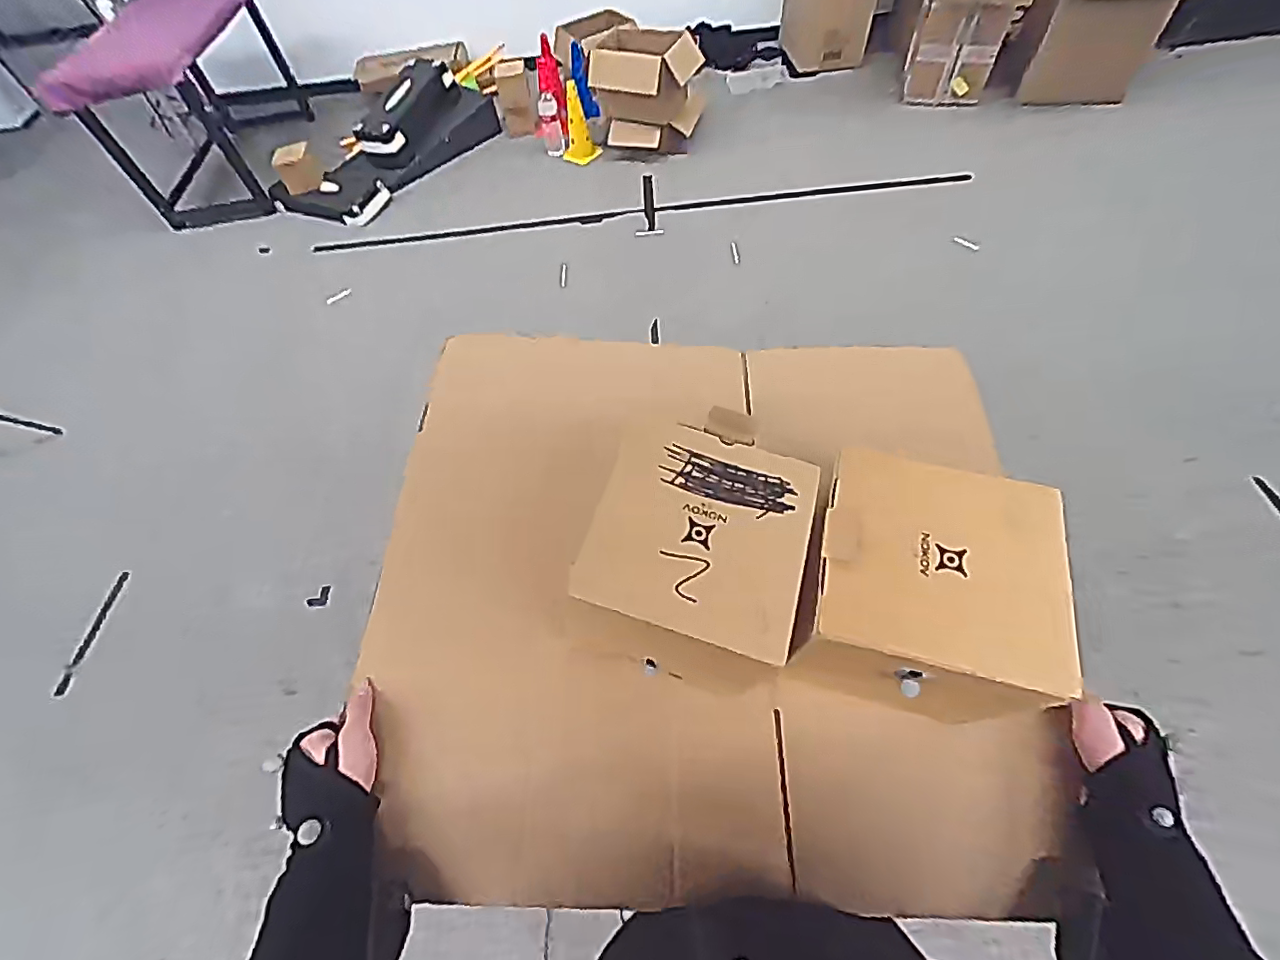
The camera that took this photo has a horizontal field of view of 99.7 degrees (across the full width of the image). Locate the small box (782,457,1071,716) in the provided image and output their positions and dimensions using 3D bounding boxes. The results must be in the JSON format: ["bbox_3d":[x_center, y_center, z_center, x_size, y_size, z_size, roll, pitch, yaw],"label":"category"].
[{"bbox_3d":[0.240,0.105,0.492,0.179,0.176,0.168,12,62,11],"label":"small box"}]
